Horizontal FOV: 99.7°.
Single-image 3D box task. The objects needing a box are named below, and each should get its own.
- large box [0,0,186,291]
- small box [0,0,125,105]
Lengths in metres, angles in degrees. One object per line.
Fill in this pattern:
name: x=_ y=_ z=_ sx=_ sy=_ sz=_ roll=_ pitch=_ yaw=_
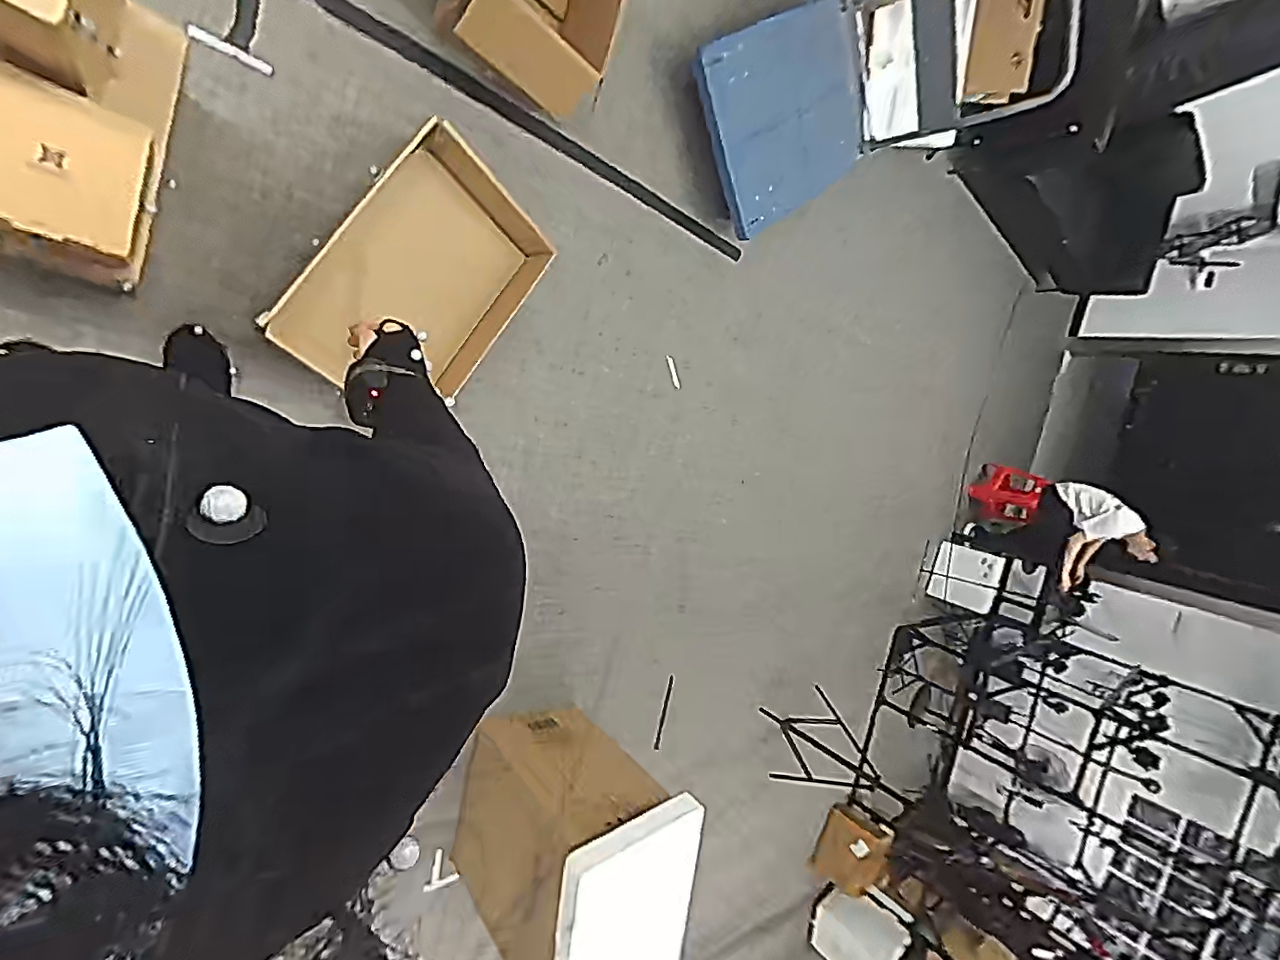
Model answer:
large box: x=-0.950 y=-0.551 z=0.849 sx=0.320 sy=0.320 sz=0.408 roll=11 pitch=96 yaw=-42
small box: x=-0.768 y=-0.603 z=0.658 sx=0.179 sy=0.176 sz=0.168 roll=15 pitch=94 yaw=-43
